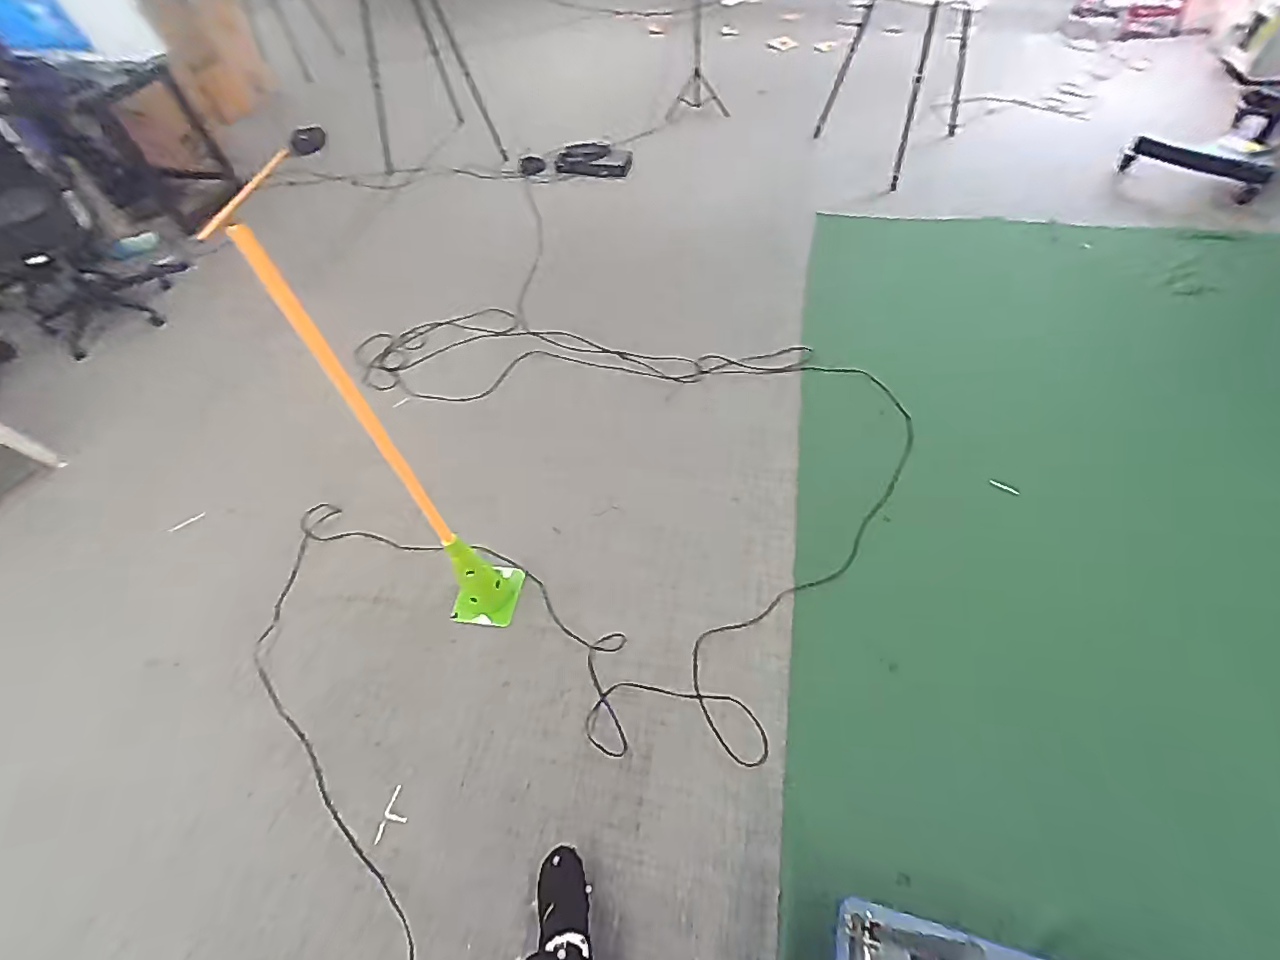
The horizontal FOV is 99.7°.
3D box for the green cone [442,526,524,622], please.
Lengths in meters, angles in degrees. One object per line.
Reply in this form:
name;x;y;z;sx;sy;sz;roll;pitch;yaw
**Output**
green cone;-0.503;0.254;1.604;0.200;0.368;0.202;4;53;8
